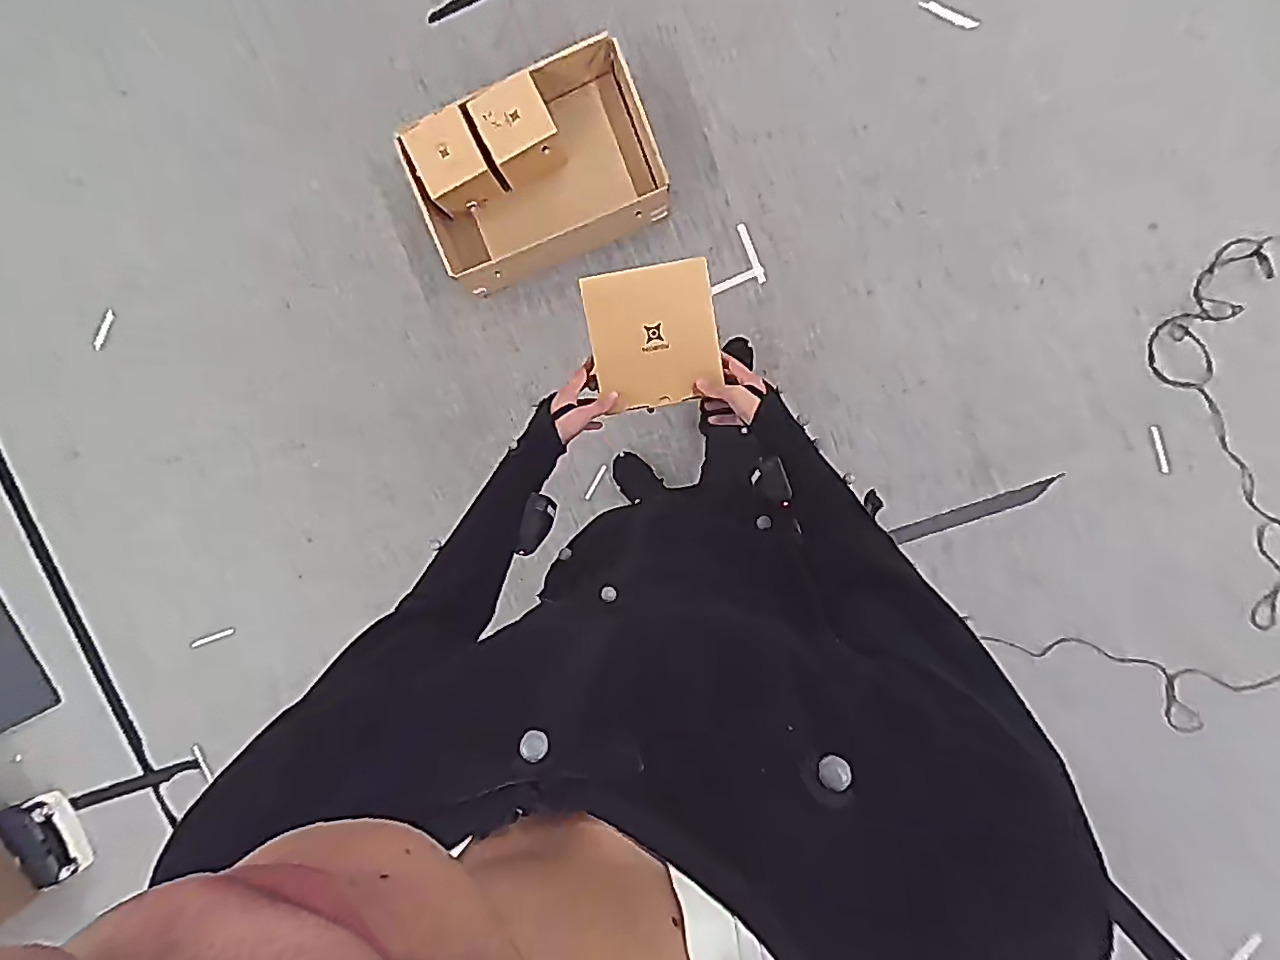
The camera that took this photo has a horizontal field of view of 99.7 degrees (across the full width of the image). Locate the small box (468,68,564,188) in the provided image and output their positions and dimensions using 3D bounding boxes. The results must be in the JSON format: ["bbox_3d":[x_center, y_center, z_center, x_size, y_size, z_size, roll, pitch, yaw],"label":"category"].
[{"bbox_3d":[-0.308,-0.900,1.398,0.179,0.176,0.168,-26,95,5],"label":"small box"}]

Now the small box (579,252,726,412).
[{"bbox_3d":[0.013,-0.199,0.763,0.168,0.176,0.179,-11,101,-1],"label":"small box"}]
